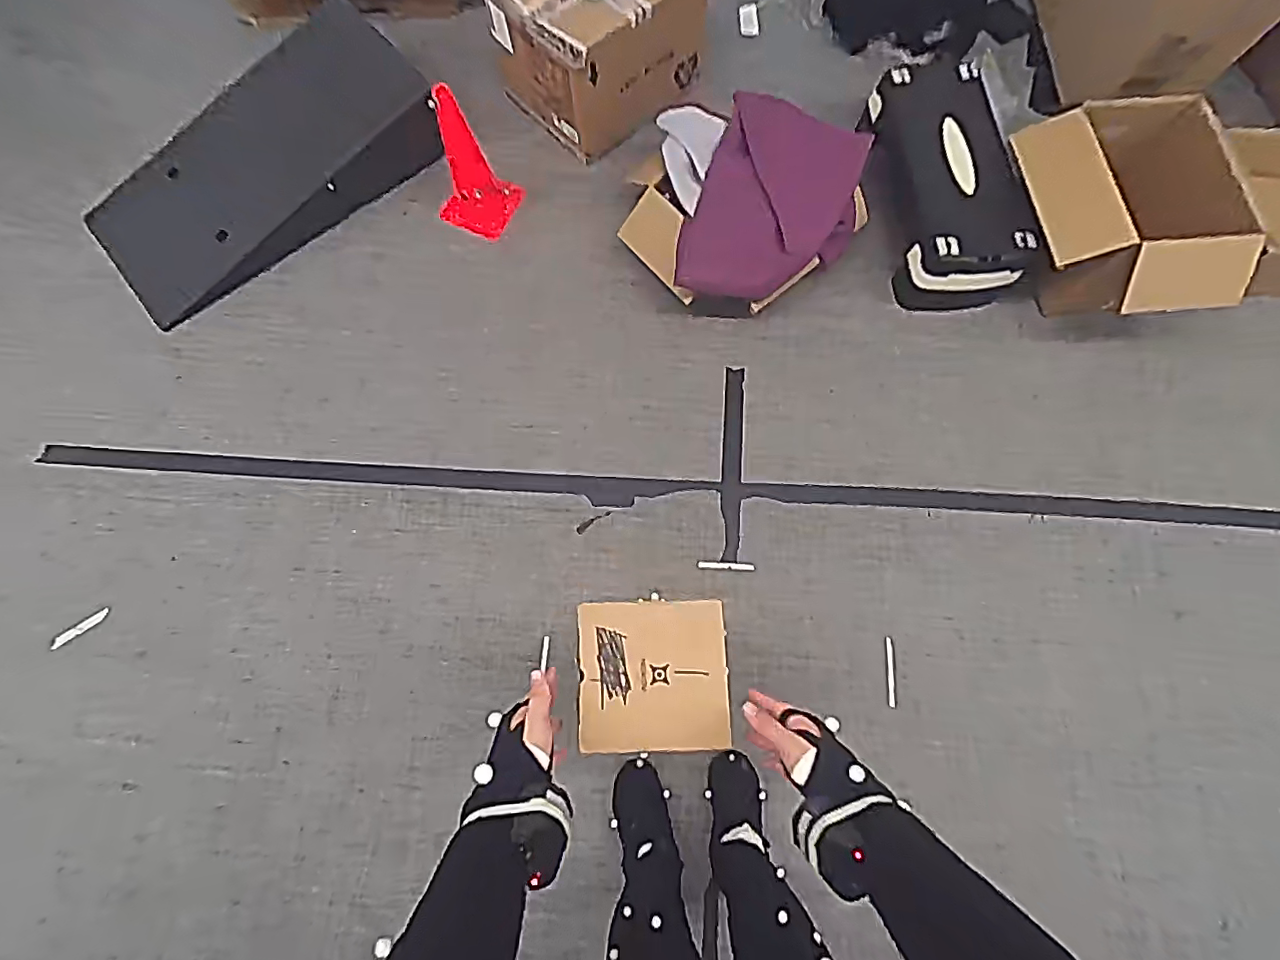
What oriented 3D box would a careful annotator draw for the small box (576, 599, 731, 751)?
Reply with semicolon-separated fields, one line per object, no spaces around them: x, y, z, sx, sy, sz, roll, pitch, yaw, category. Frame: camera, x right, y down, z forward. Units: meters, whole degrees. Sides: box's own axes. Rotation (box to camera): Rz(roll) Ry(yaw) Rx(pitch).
0.016;0.245;0.698;0.179;0.176;0.168;-2;74;0;small box
